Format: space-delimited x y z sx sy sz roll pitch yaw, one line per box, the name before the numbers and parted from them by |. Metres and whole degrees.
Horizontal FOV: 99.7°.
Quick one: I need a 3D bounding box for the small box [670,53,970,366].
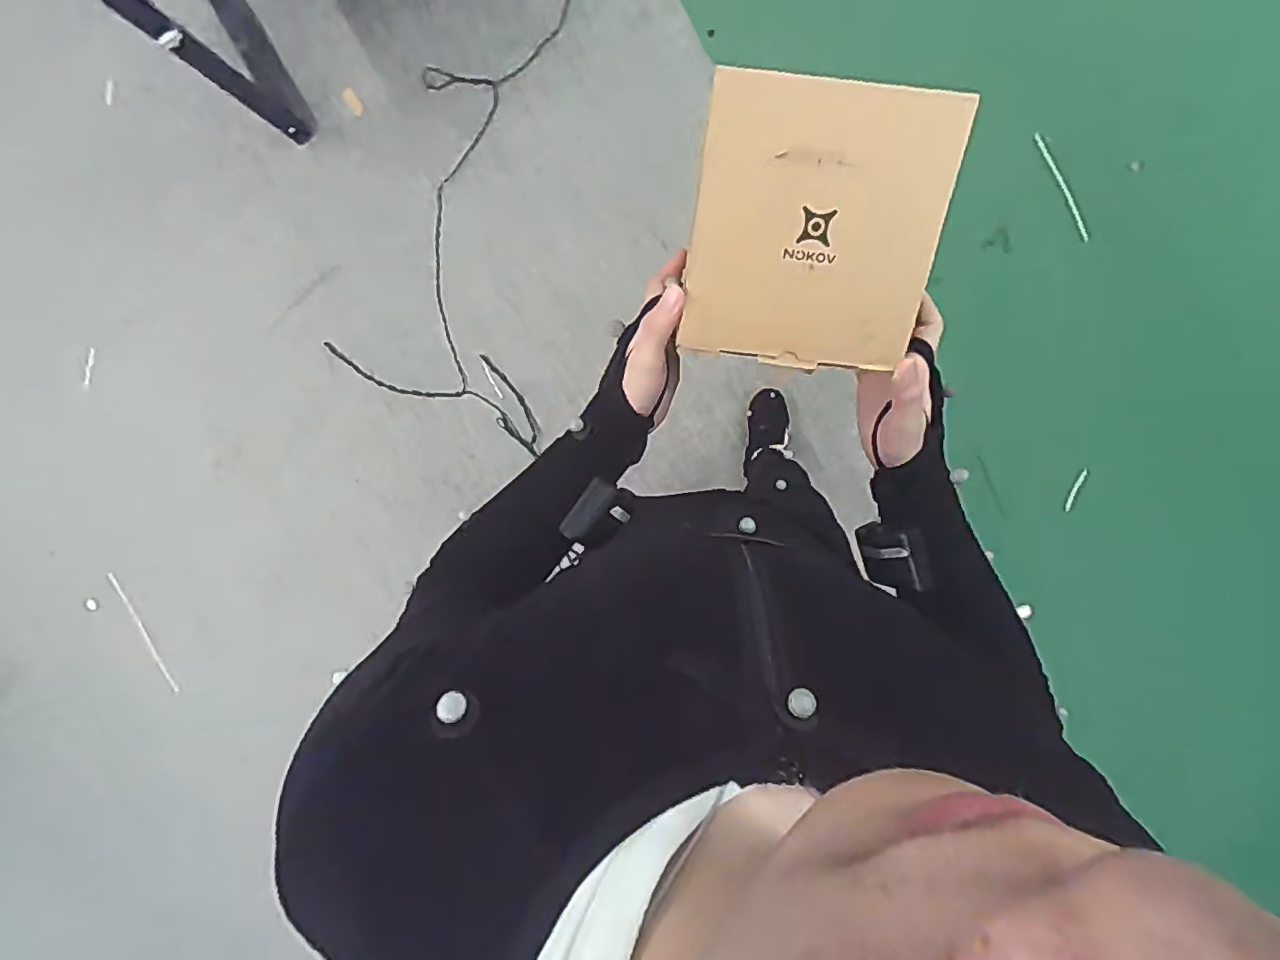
small box | 0.120 -0.202 0.438 0.168 0.176 0.179 8 111 1
